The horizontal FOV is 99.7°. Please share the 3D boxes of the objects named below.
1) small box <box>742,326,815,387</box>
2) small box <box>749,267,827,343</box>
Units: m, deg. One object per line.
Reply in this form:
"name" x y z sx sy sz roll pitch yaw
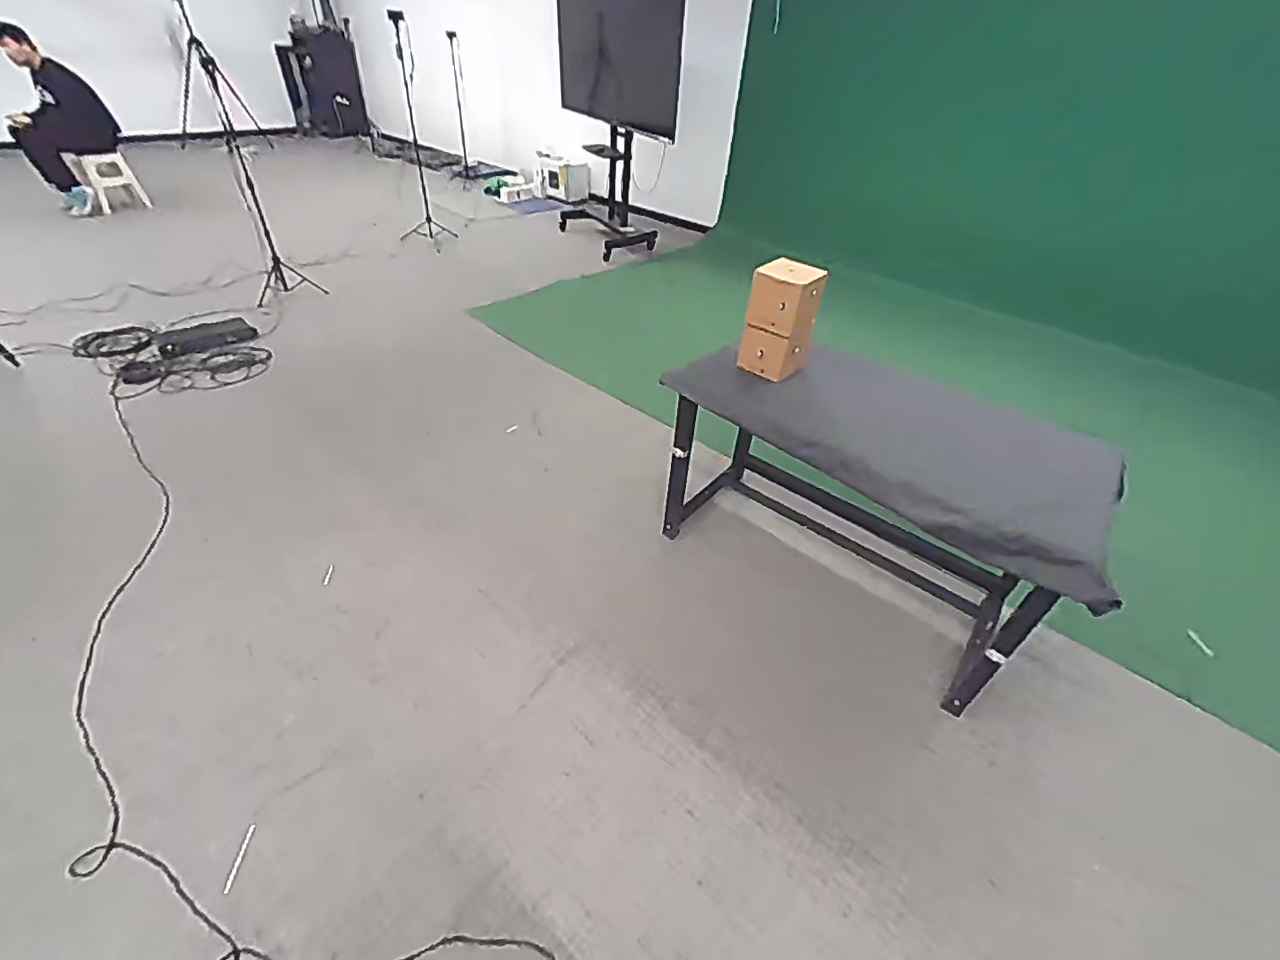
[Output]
"small box" 0.461 -0.435 1.828 0.168 0.176 0.179 32 47 29
"small box" 0.463 -0.554 1.716 0.168 0.176 0.179 31 45 27
